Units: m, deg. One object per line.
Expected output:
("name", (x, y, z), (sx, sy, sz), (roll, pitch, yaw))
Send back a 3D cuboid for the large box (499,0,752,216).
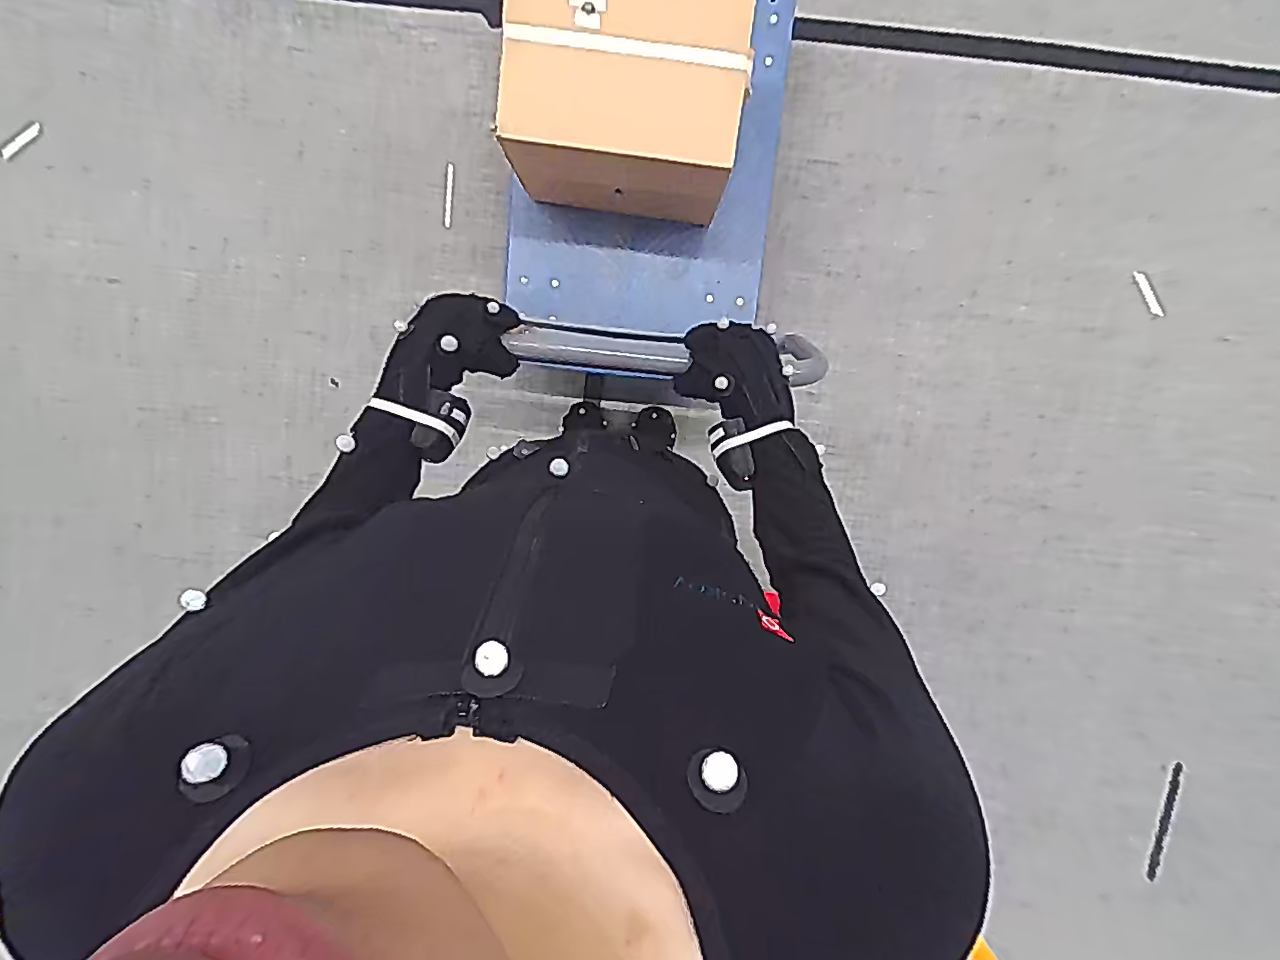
("large box", (-0.021, -0.727, 1.034), (0.408, 0.320, 0.320), (7, 99, 0))
